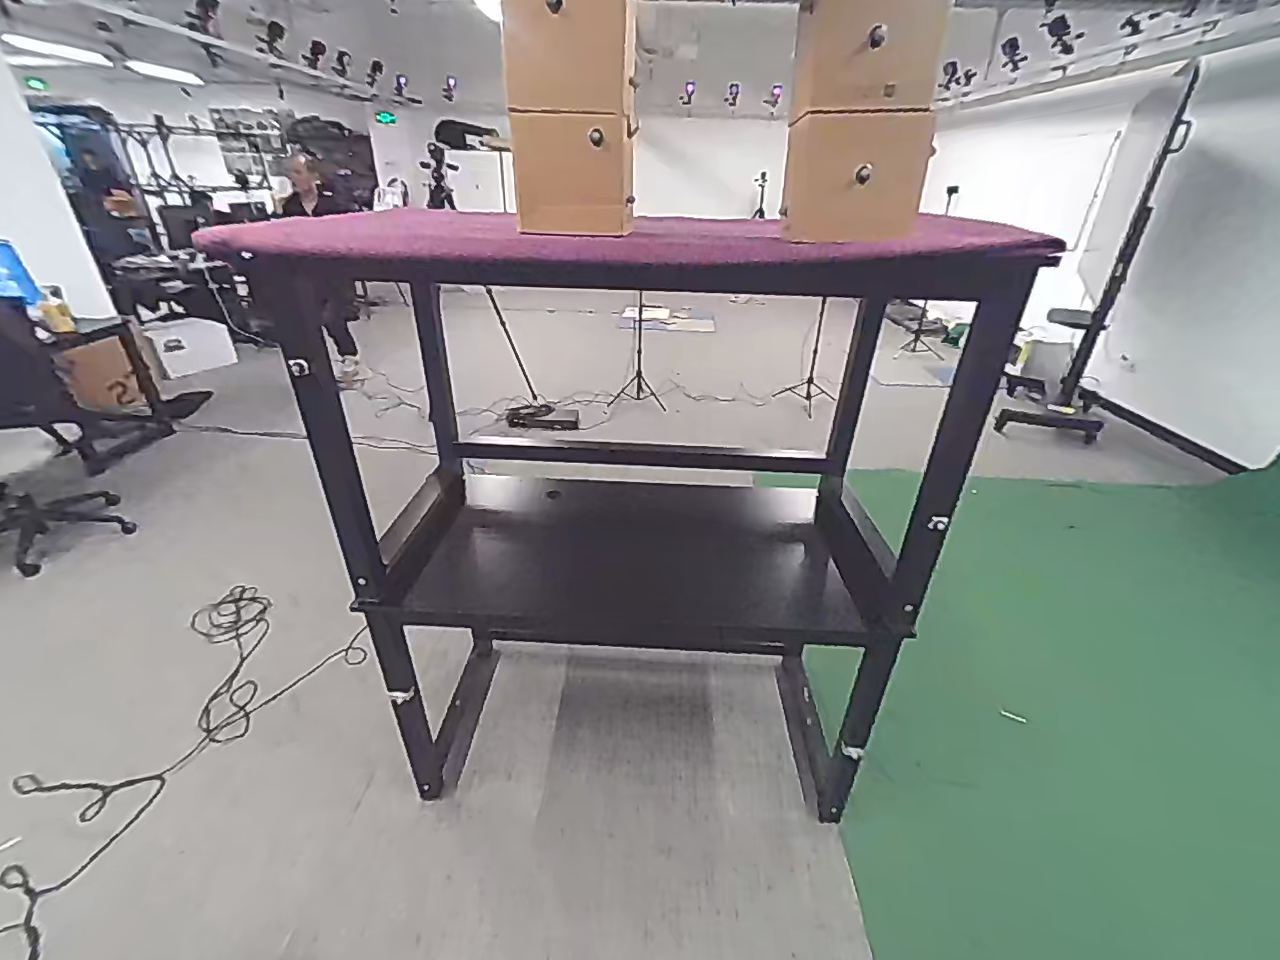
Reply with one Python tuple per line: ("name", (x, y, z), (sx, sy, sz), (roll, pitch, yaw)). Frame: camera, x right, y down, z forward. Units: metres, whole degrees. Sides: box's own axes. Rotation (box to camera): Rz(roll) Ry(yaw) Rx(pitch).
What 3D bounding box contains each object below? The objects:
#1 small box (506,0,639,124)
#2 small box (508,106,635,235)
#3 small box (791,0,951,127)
("small box", (-0.097, -0.646, 0.815), (0.179, 0.176, 0.168), (5, 28, 2))
("small box", (-0.103, -0.499, 0.888), (0.179, 0.176, 0.168), (4, 28, 3))
("small box", (0.317, -0.610, 0.762), (0.168, 0.176, 0.179), (2, 27, 4))
